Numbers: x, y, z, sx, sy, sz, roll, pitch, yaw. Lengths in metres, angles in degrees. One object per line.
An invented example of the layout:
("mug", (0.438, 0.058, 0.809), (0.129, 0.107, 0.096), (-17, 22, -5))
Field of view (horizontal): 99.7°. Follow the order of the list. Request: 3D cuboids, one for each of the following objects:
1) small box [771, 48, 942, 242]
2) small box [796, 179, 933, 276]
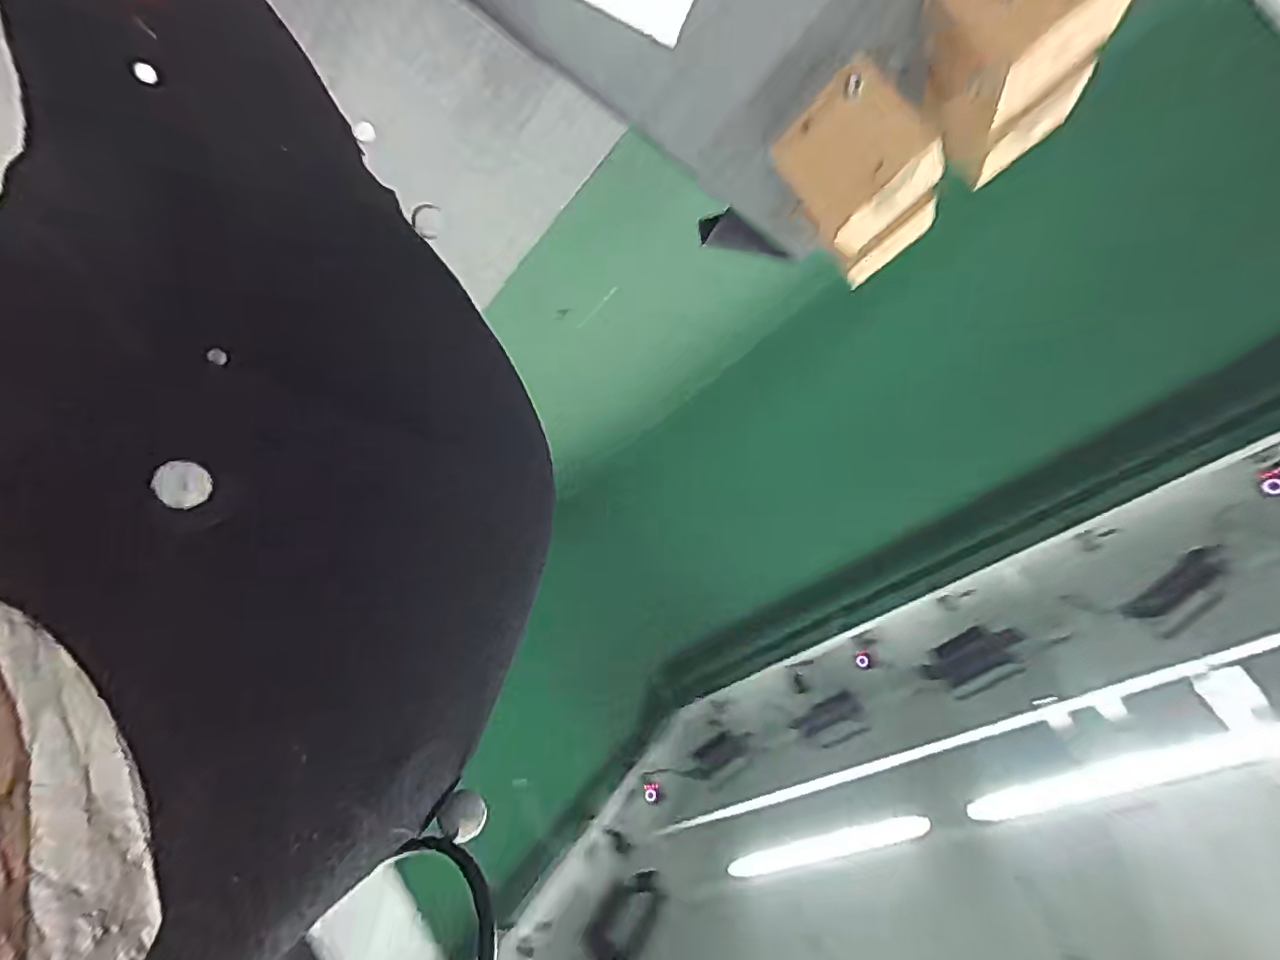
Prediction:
("small box", (0.327, -0.498, 0.821), (0.168, 0.176, 0.179), (-40, 171, 32))
("small box", (0.436, -0.537, 1.056), (0.179, 0.176, 0.168), (-39, 171, 26))
